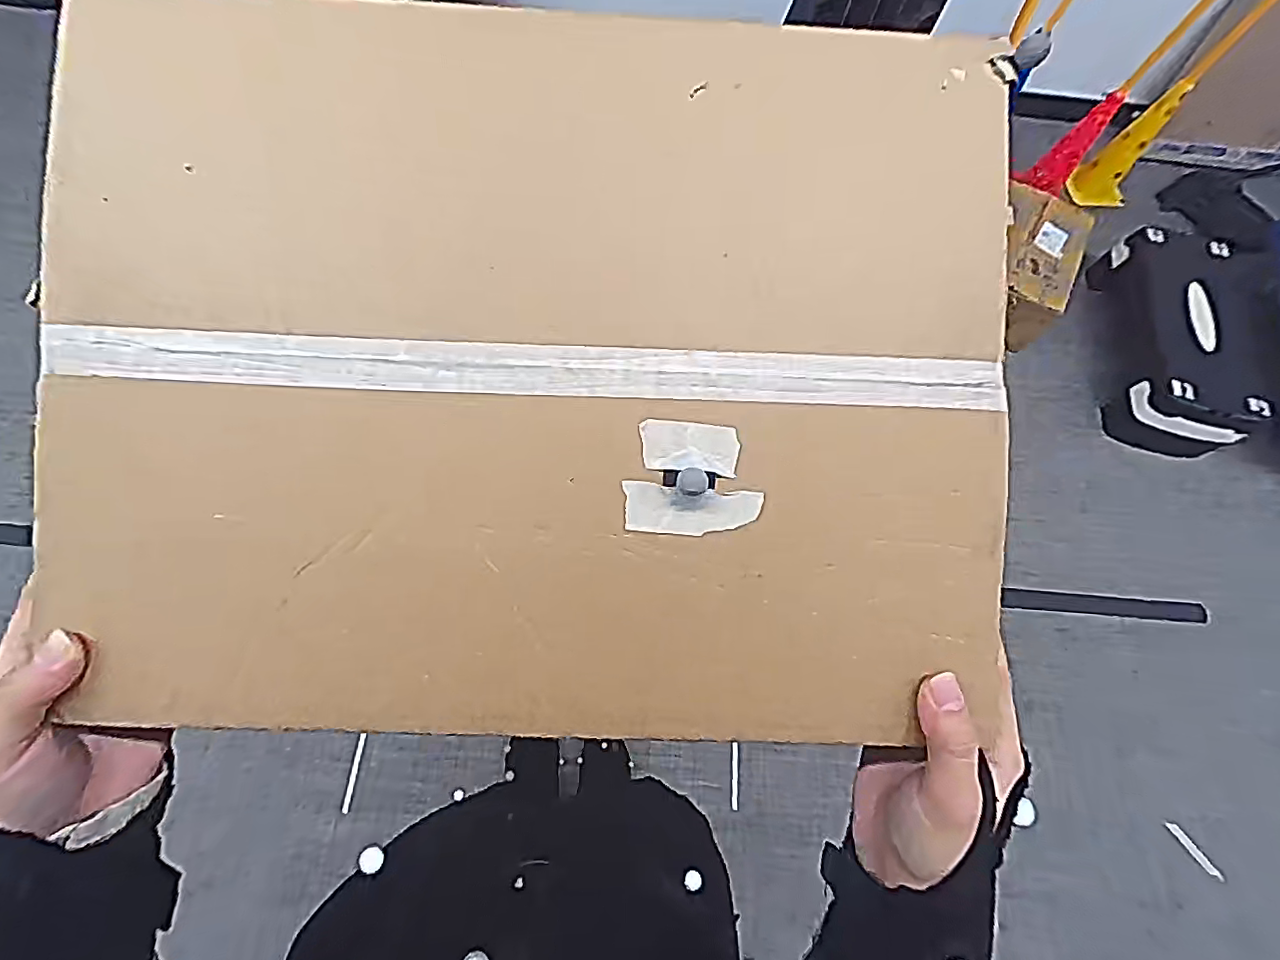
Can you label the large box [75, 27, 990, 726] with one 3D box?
[{"bbox_3d":[-0.047,-0.041,0.392,0.408,0.320,0.320,2,90,-2],"label":"large box"}]
